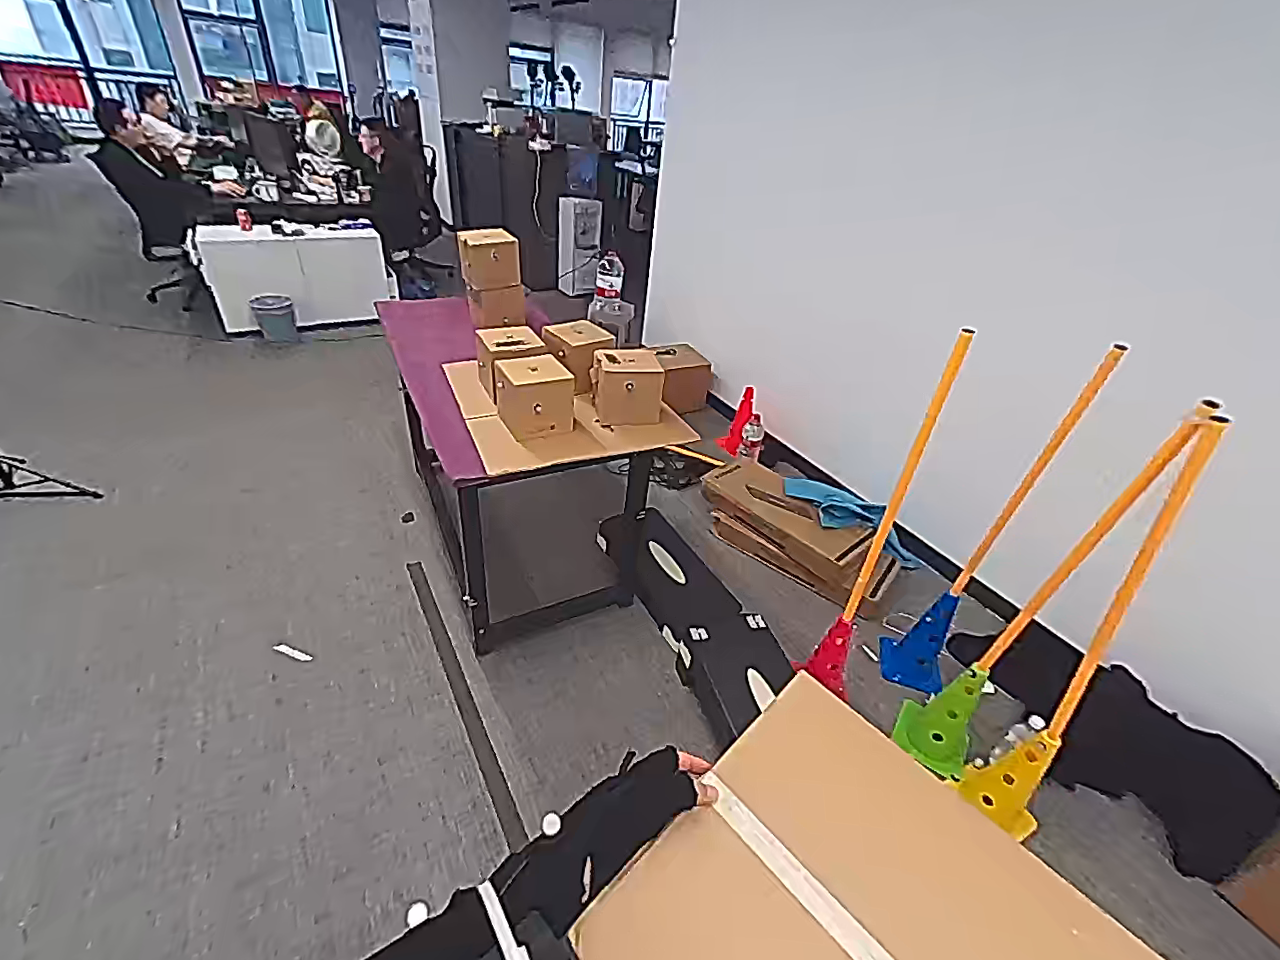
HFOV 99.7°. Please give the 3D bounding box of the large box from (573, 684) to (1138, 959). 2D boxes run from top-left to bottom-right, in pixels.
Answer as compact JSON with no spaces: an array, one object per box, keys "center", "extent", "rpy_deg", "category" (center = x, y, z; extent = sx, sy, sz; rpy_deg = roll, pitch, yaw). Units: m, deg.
[{"center":[0.184,0.486,0.489],"extent":[0.320,0.320,0.408],"rpy_deg":[-32,52,-31],"category":"large box"}]
